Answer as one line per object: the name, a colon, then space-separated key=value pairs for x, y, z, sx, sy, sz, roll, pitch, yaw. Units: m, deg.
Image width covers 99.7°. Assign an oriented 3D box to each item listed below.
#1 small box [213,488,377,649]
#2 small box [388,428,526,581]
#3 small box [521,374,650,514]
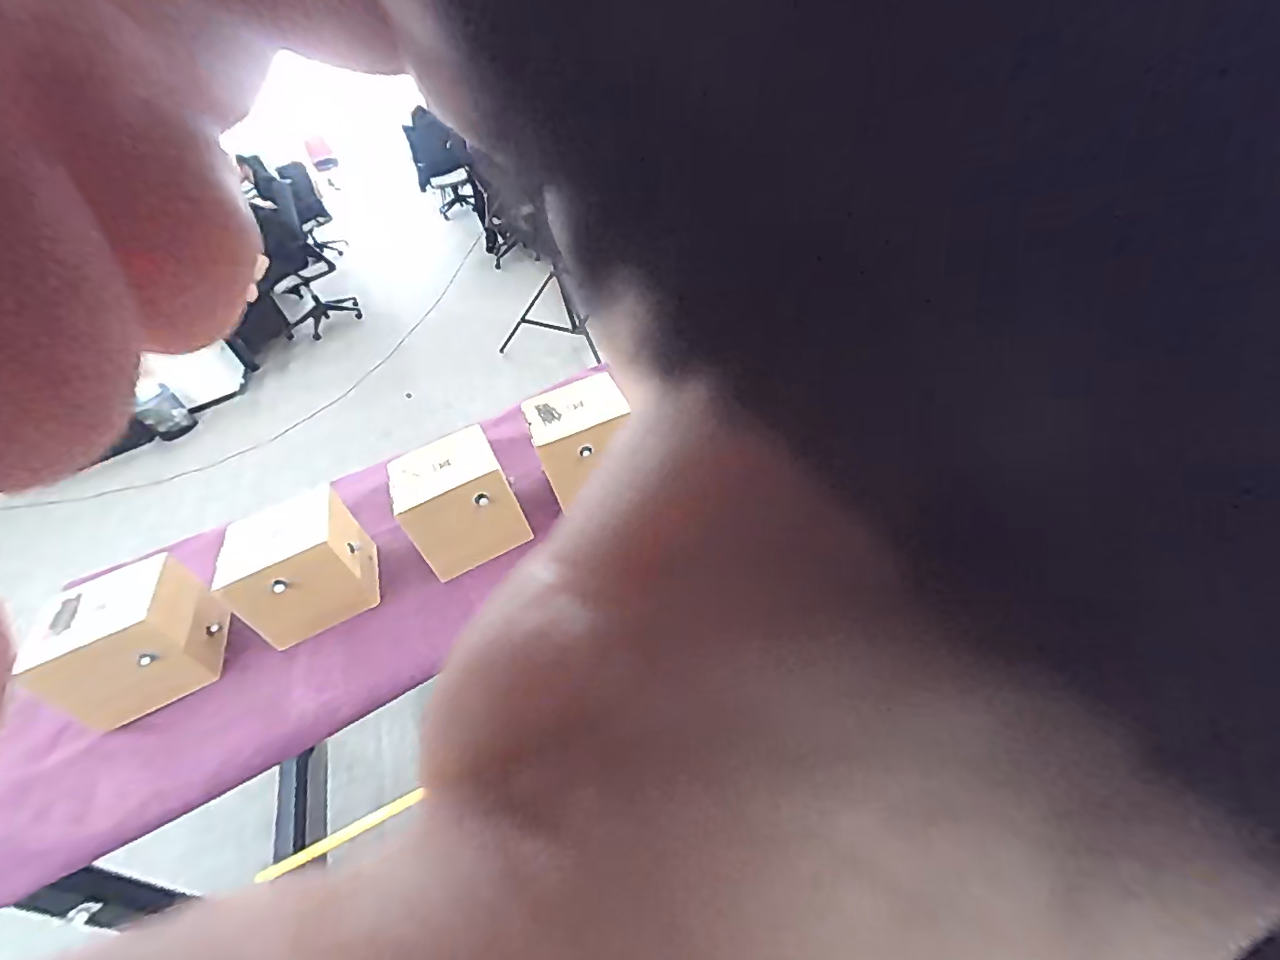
small box: x=-0.570 y=0.151 z=0.925 sx=0.179 sy=0.176 sz=0.168 roll=-26 pitch=41 yaw=-10
small box: x=-0.316 y=0.042 z=0.957 sx=0.179 sy=0.176 sz=0.168 roll=-26 pitch=39 yaw=-11
small box: x=-0.100 y=-0.064 z=1.004 sx=0.179 sy=0.176 sz=0.168 roll=-22 pitch=39 yaw=-7
